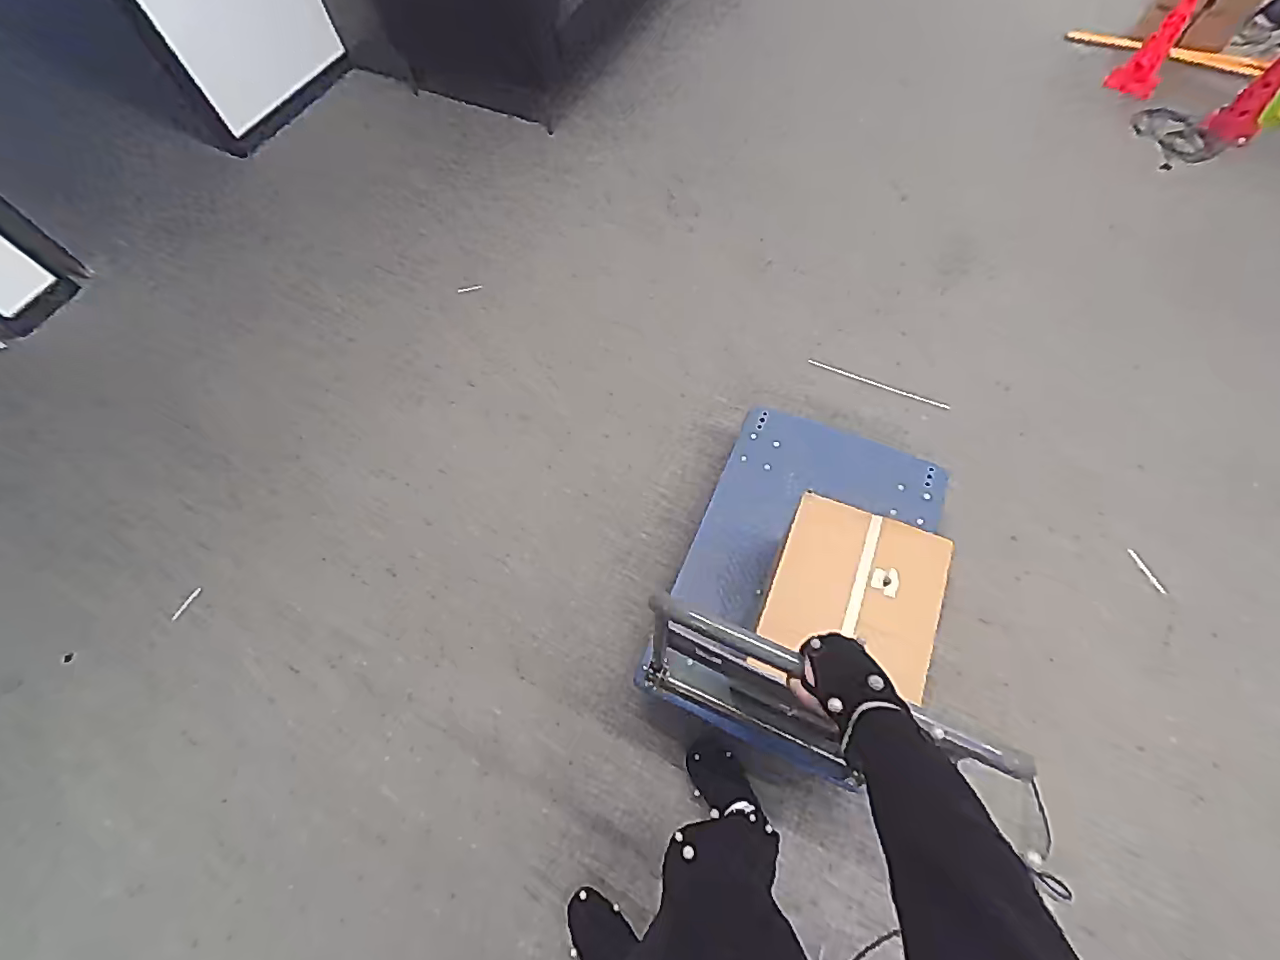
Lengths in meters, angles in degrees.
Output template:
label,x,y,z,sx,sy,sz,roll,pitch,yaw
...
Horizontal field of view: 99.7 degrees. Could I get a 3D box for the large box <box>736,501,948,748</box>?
label,x,y,z,sx,sy,sz,roll,pitch,yaw
large box,0.428,0.325,1.196,0.320,0.320,0.408,20,66,13
